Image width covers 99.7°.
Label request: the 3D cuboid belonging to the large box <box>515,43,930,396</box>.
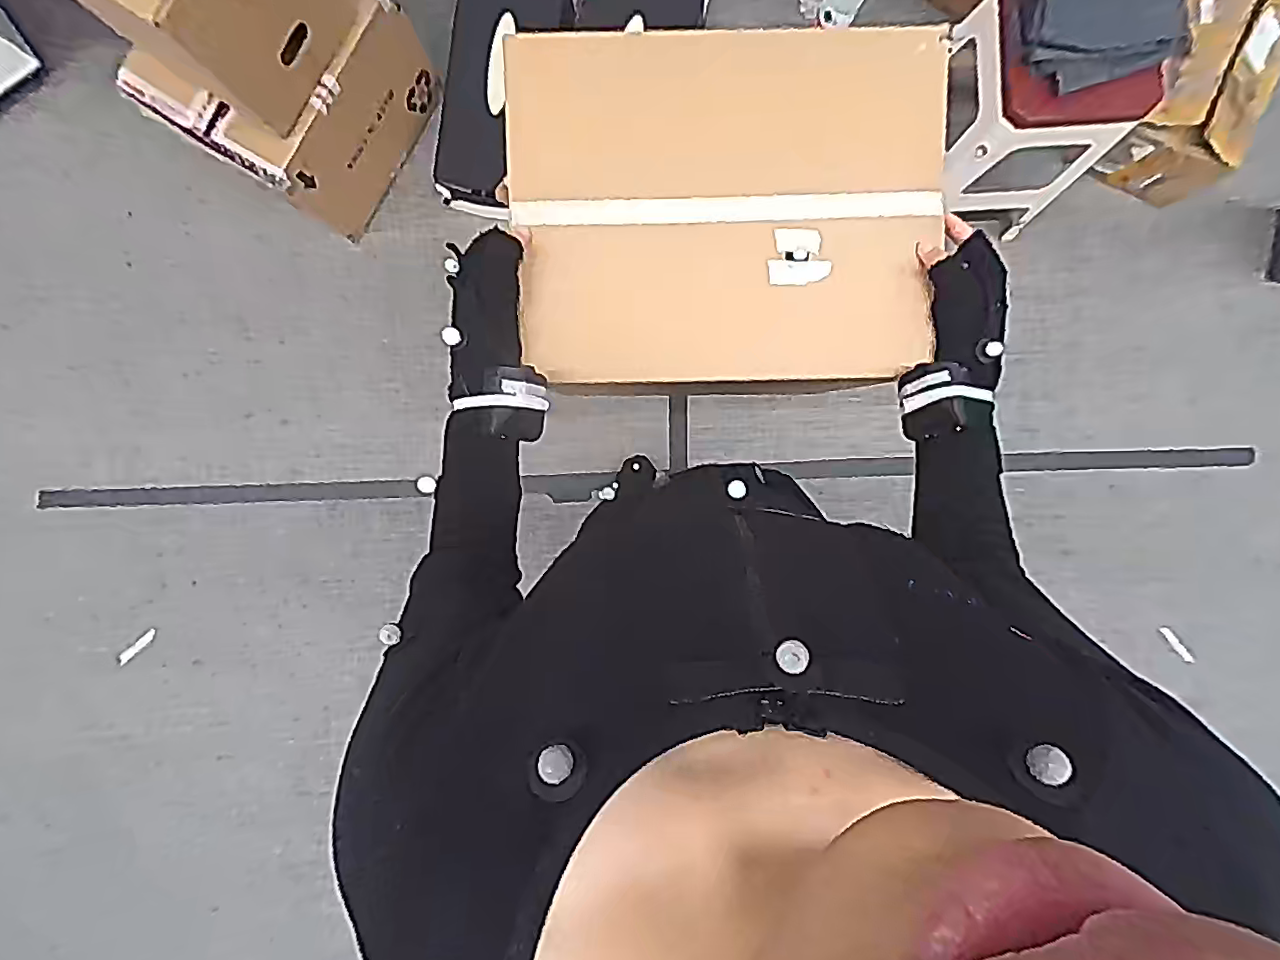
[{"bbox_3d":[0.080,-0.274,0.677,0.408,0.320,0.320,-1,97,0],"label":"large box"}]
